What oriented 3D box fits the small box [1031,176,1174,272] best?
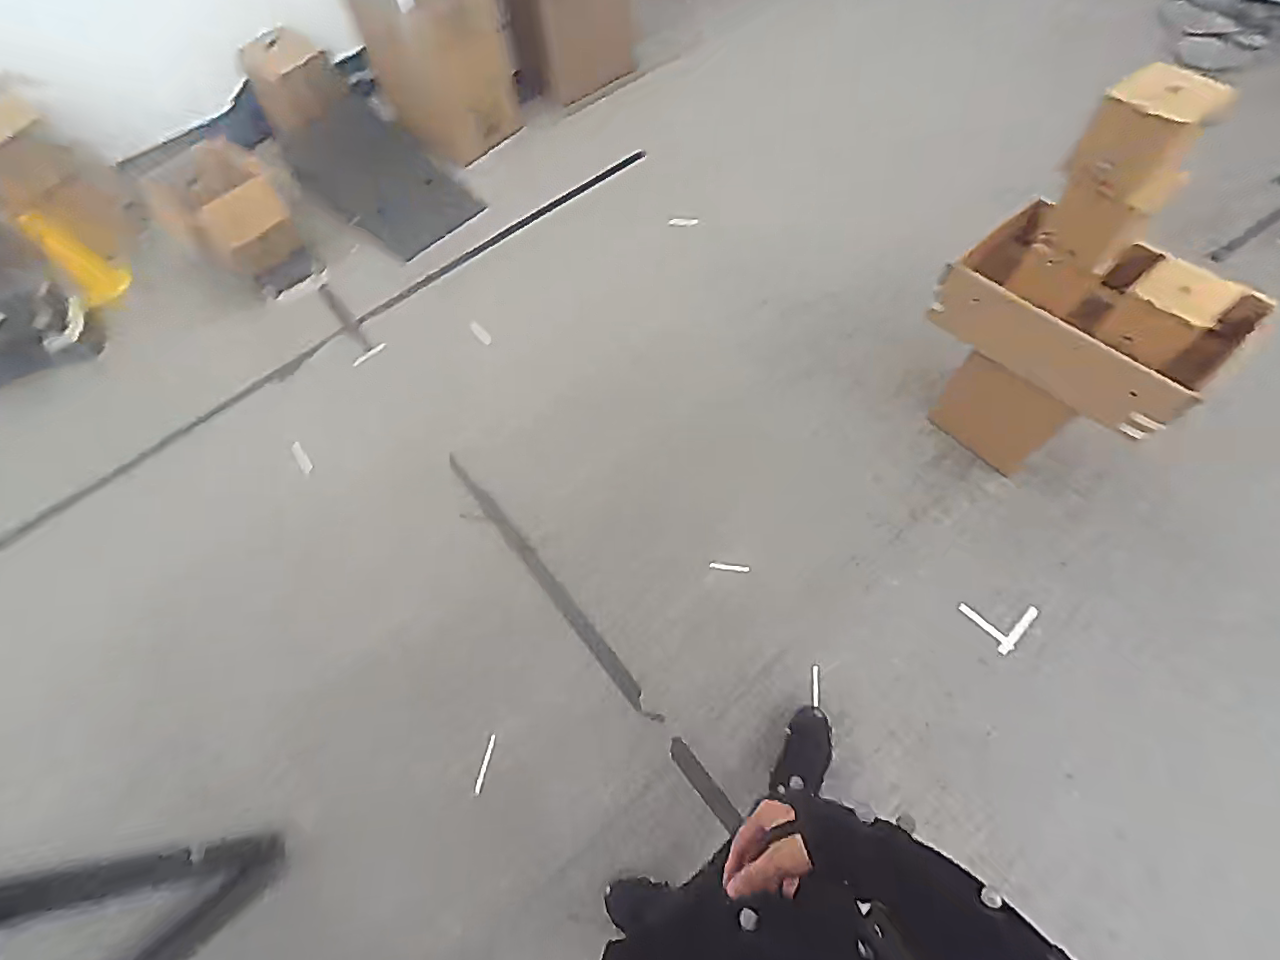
[{"bbox_3d":[1.091,-0.635,1.296,0.179,0.176,0.168,-34,64,-14],"label":"small box"}]

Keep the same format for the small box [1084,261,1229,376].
[{"bbox_3d":[1.263,-0.396,1.338,0.179,0.176,0.168,-37,64,-14],"label":"small box"}]

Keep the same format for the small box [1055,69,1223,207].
[{"bbox_3d":[1.057,-0.732,1.165,0.179,0.176,0.168,-34,64,-12],"label":"small box"}]

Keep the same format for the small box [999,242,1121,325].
[{"bbox_3d":[1.105,-0.553,1.437,0.179,0.176,0.168,-40,64,-17],"label":"small box"}]
